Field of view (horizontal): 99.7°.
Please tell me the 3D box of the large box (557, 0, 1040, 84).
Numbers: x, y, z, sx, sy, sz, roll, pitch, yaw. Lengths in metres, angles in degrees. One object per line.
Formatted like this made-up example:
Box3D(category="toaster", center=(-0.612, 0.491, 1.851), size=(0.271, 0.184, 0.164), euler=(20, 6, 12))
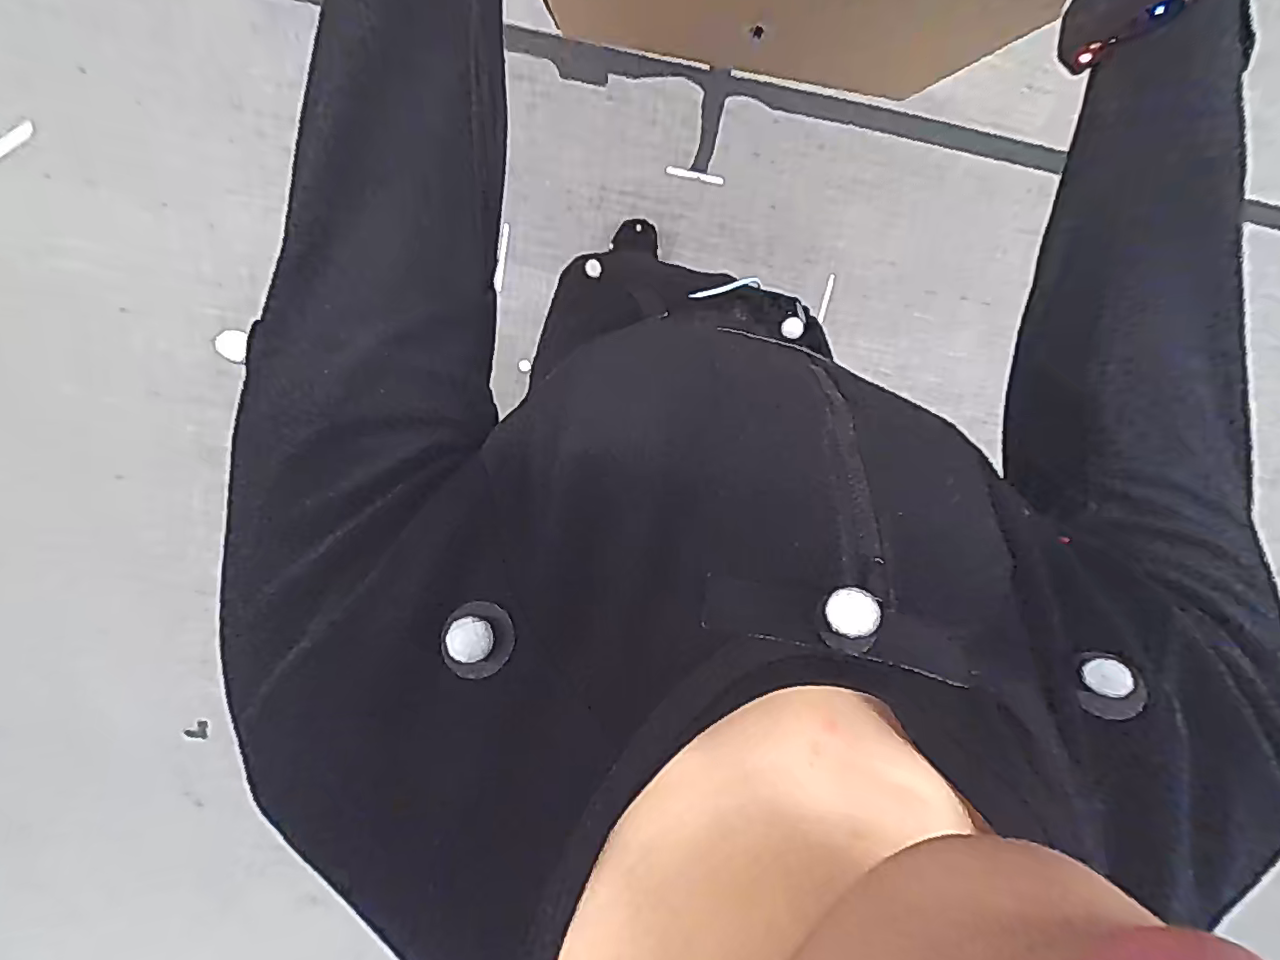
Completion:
Box3D(category="large box", center=(0.130, -0.560, 0.426), size=(0.408, 0.320, 0.320), euler=(9, 113, -3))
